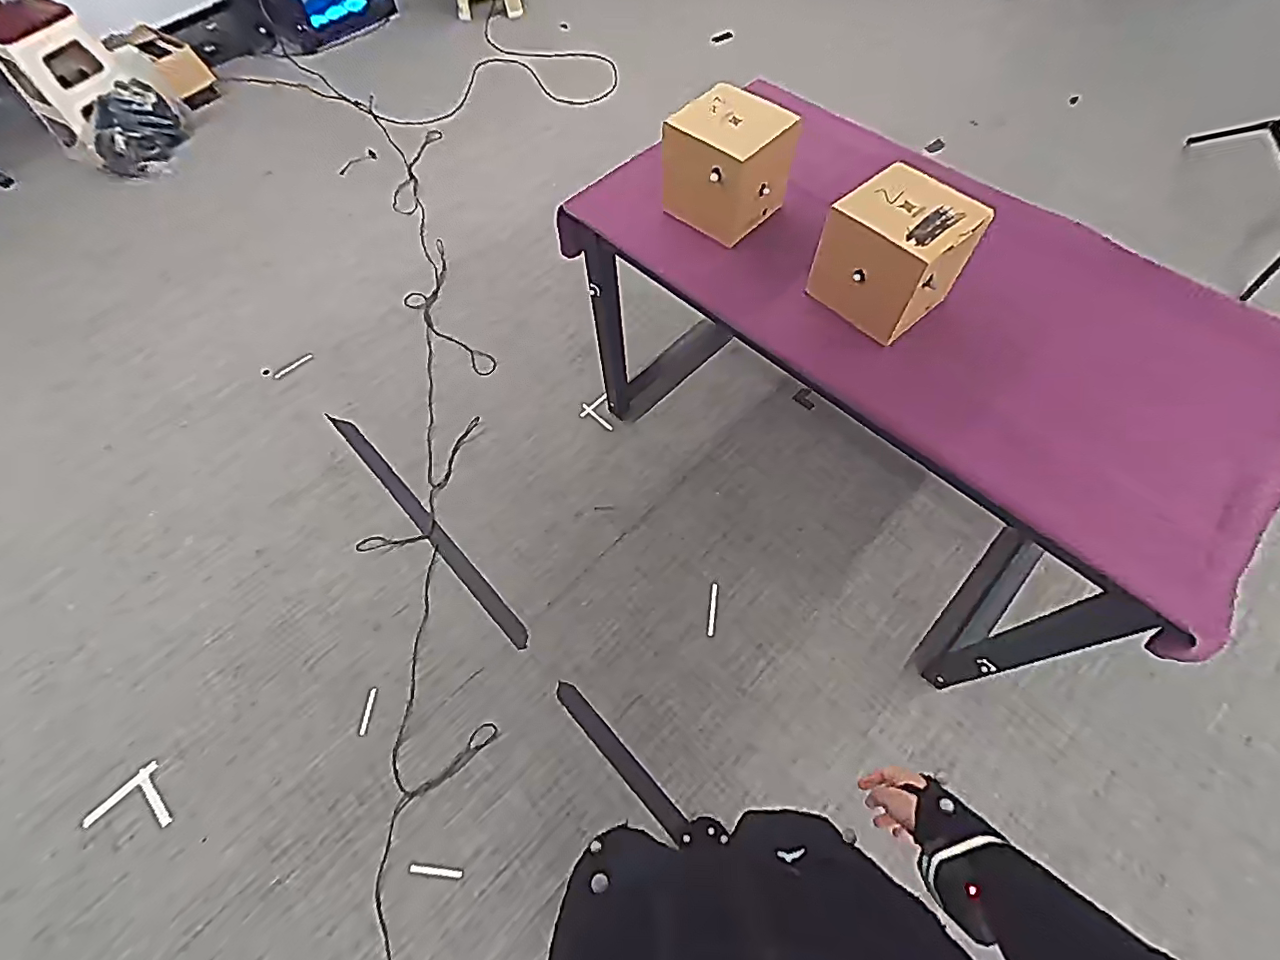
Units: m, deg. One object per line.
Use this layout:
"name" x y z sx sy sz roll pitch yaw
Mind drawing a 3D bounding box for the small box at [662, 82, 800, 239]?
"small box" 0.157 -0.573 0.987 0.179 0.176 0.168 39 69 20
